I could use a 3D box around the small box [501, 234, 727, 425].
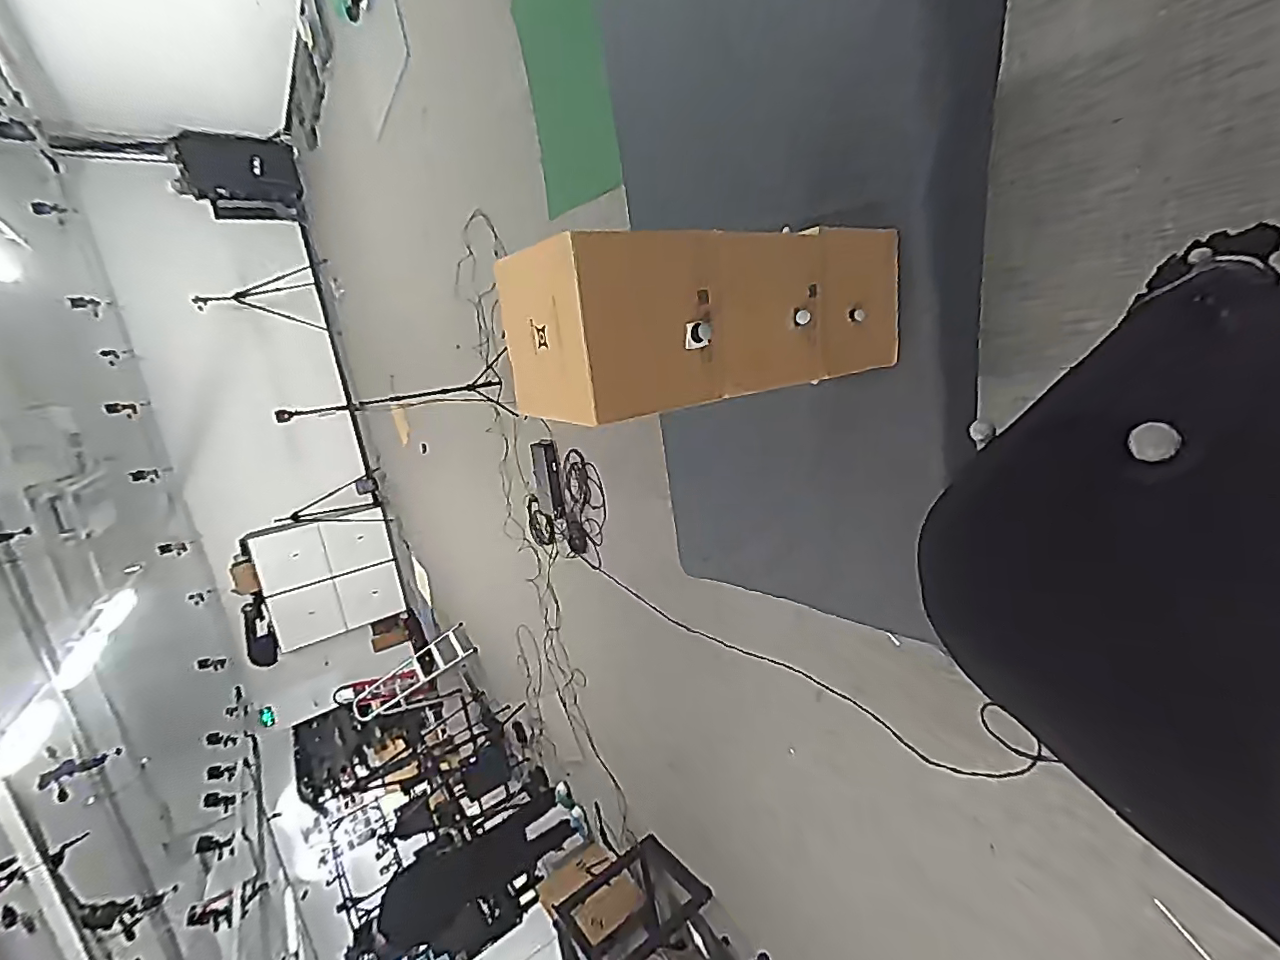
[{"bbox_3d":[-0.028,-0.161,0.585,0.179,0.176,0.168,15,117,53],"label":"small box"}]

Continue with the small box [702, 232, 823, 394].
[{"bbox_3d":[0.102,-0.200,0.672,0.179,0.176,0.168,14,115,56],"label":"small box"}]

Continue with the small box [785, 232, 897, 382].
[{"bbox_3d":[0.239,-0.237,0.757,0.168,0.176,0.179,13,115,54],"label":"small box"}]
